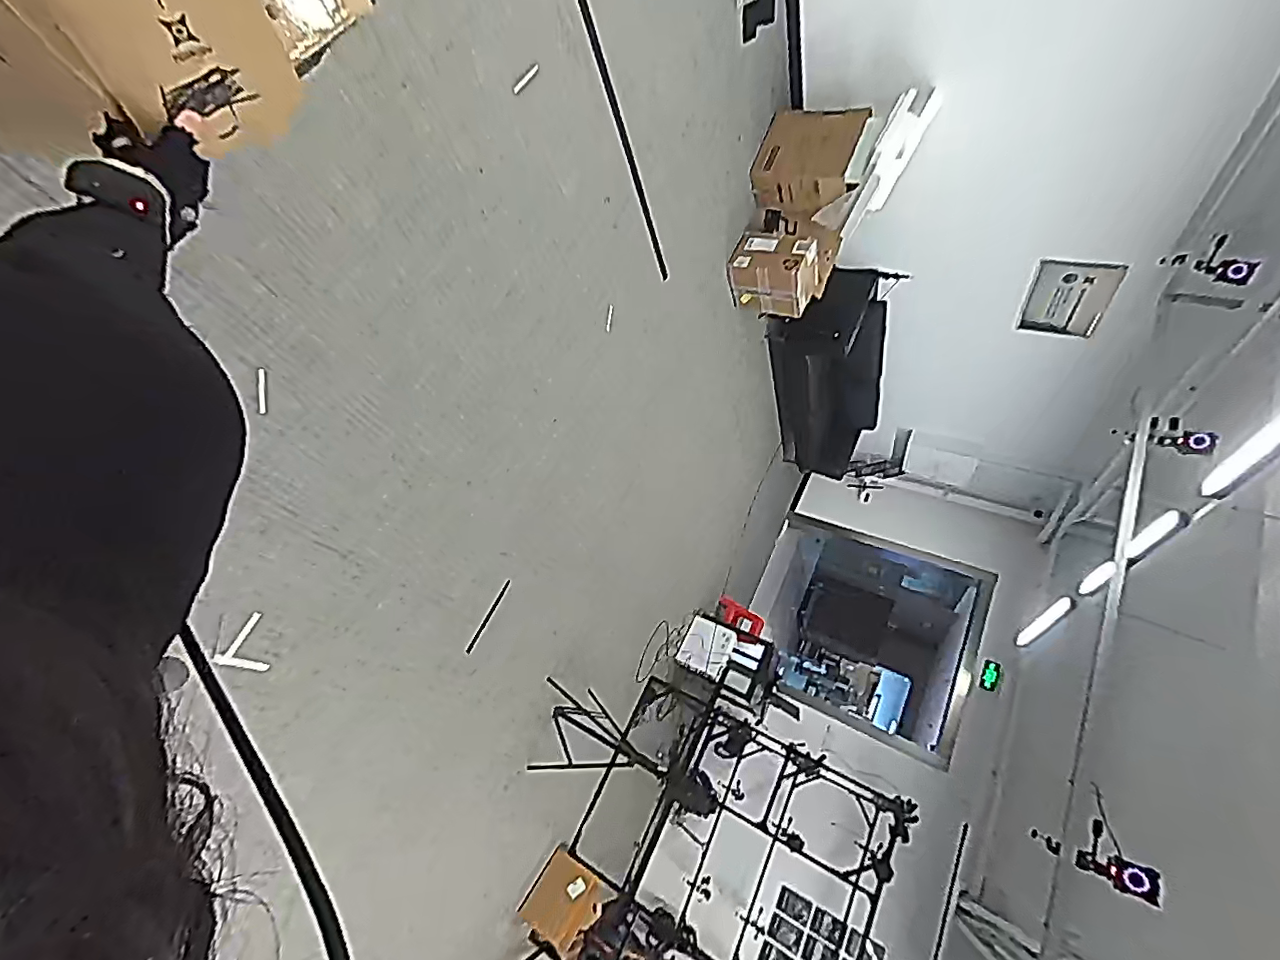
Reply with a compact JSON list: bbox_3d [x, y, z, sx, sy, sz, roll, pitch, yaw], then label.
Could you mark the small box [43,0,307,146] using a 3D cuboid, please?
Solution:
[{"bbox_3d":[-0.477,-0.482,0.532,0.168,0.176,0.179,-31,161,-17],"label":"small box"}]
